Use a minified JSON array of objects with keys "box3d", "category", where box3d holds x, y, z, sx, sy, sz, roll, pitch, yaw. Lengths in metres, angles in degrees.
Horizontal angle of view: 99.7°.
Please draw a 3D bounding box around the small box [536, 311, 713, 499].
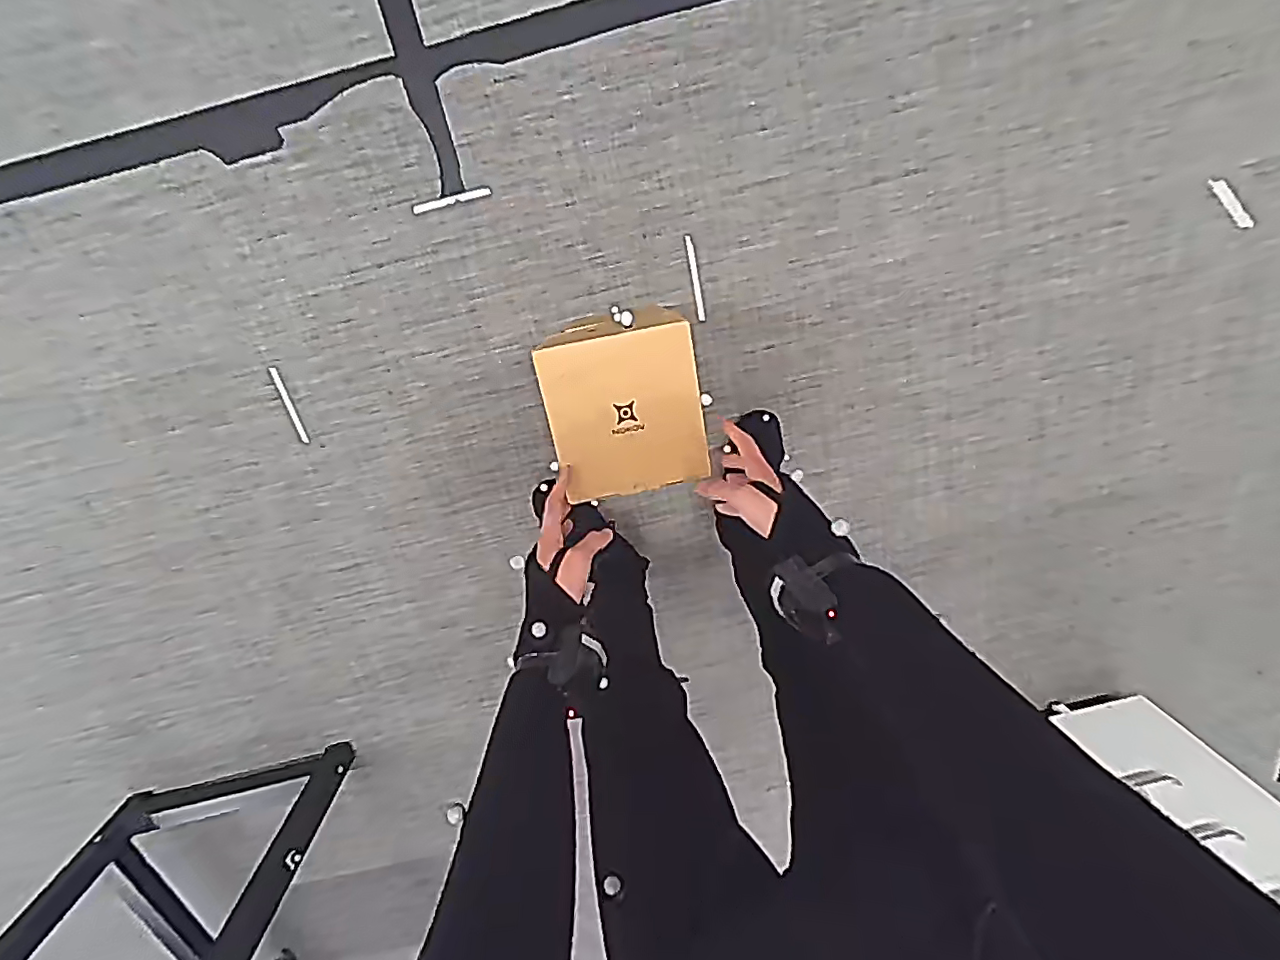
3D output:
[{"box3d":[-0.019,-0.099,0.645,0.168,0.176,0.179,-12,111,0],"category":"small box"}]
